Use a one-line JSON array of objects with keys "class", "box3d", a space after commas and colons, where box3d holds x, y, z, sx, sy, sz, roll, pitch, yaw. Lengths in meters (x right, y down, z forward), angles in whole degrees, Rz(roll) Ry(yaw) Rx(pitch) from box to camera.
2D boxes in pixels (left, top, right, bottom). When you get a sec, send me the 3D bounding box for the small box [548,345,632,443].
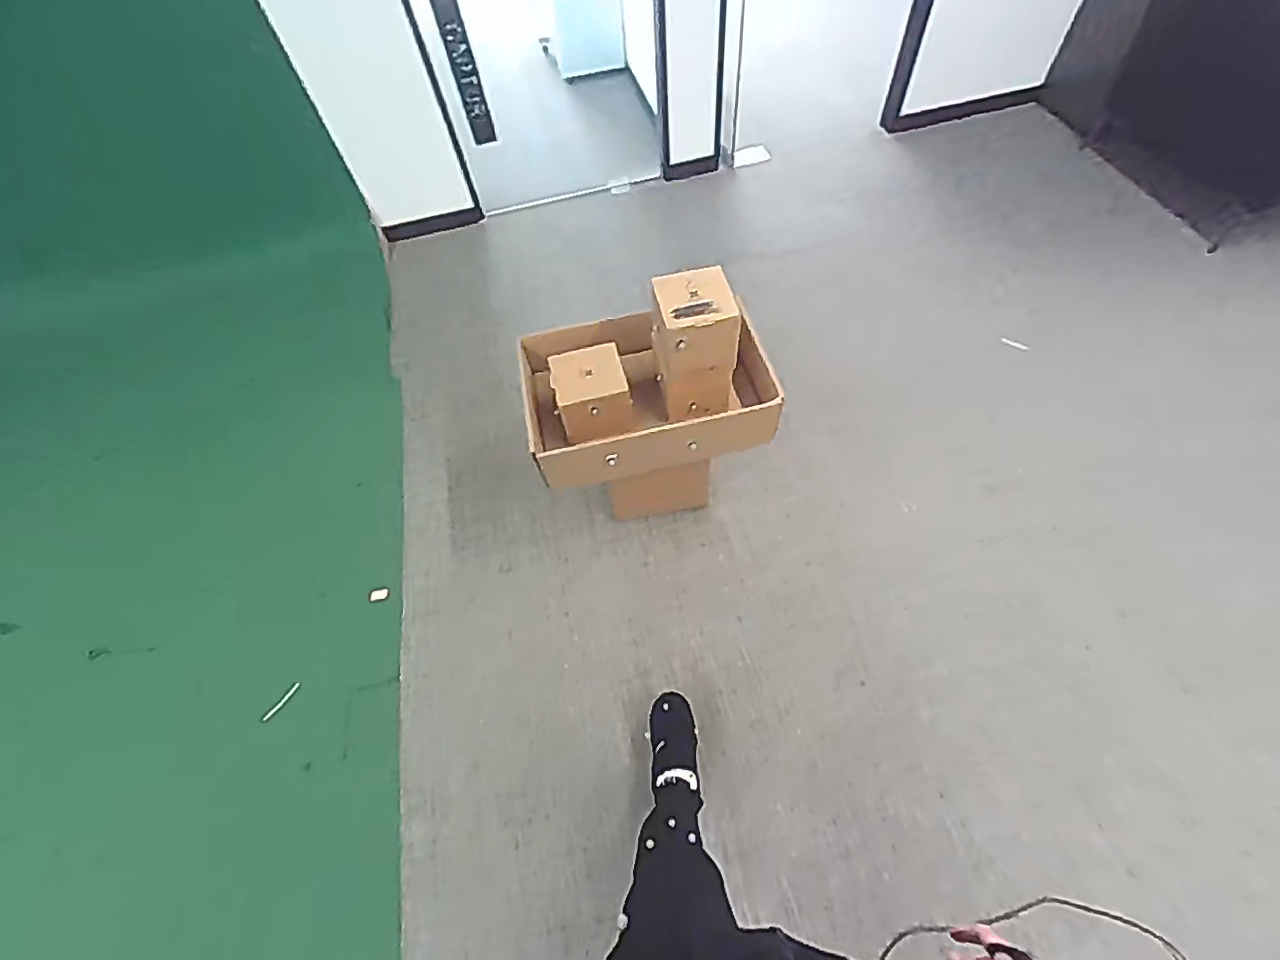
[{"class": "small box", "box3d": [-0.126, -0.216, 1.390, 0.179, 0.176, 0.168, -13, 59, -5]}]
